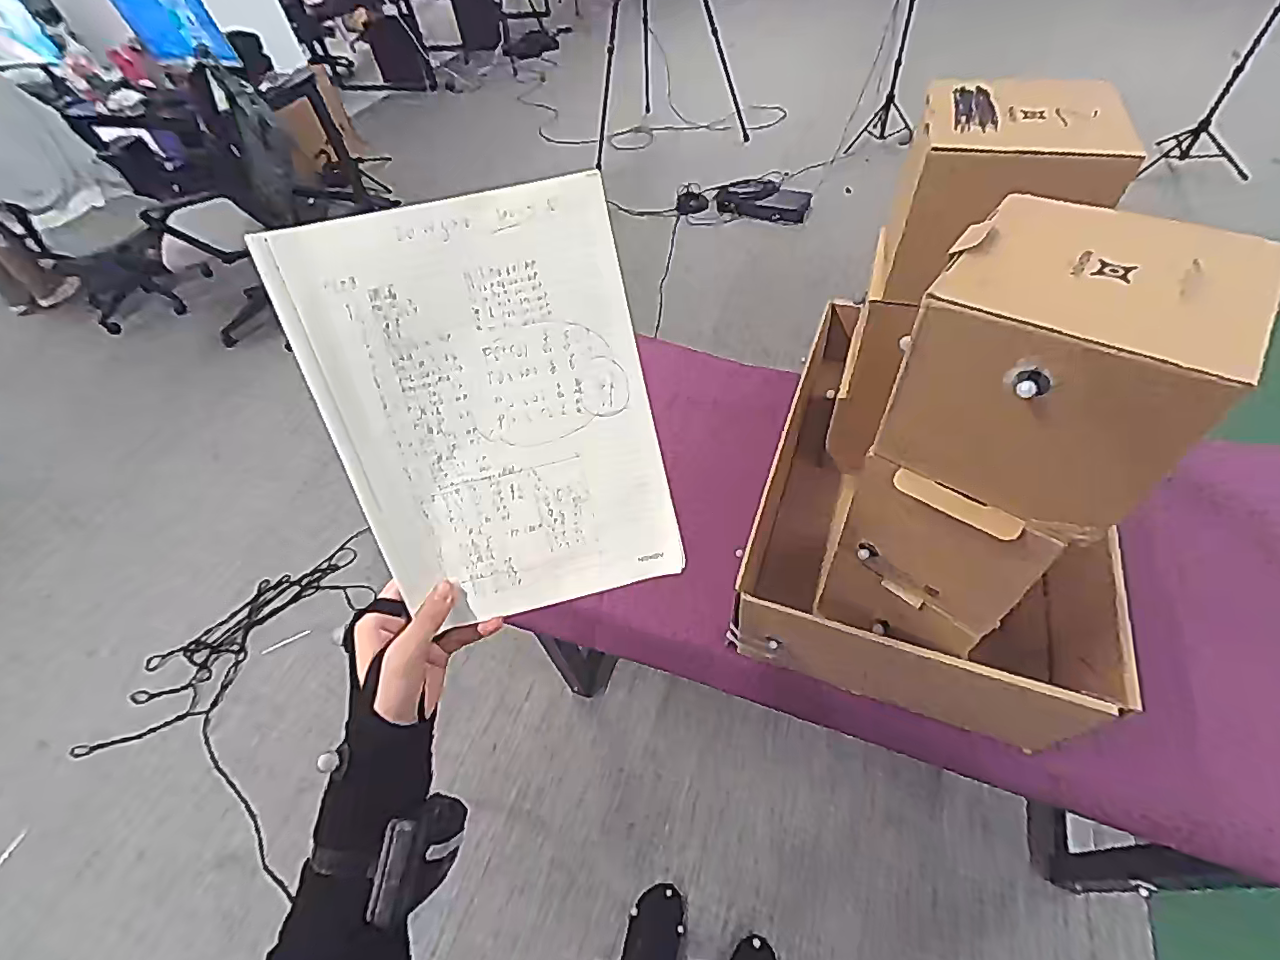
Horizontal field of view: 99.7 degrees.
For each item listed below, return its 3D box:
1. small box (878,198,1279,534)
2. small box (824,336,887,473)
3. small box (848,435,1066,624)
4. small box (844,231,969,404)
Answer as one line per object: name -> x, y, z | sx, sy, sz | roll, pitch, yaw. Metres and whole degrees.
small box -> 0.314, -0.088, 0.421 | 0.179, 0.176, 0.168 | 30, 61, 29
small box -> 0.396, -0.113, 0.853 | 0.168, 0.176, 0.179 | 14, 57, 18
small box -> 0.332, 0.011, 0.549 | 0.168, 0.176, 0.179 | 32, 61, 30
small box -> 0.382, -0.207, 0.722 | 0.179, 0.176, 0.168 | 12, 56, 16
